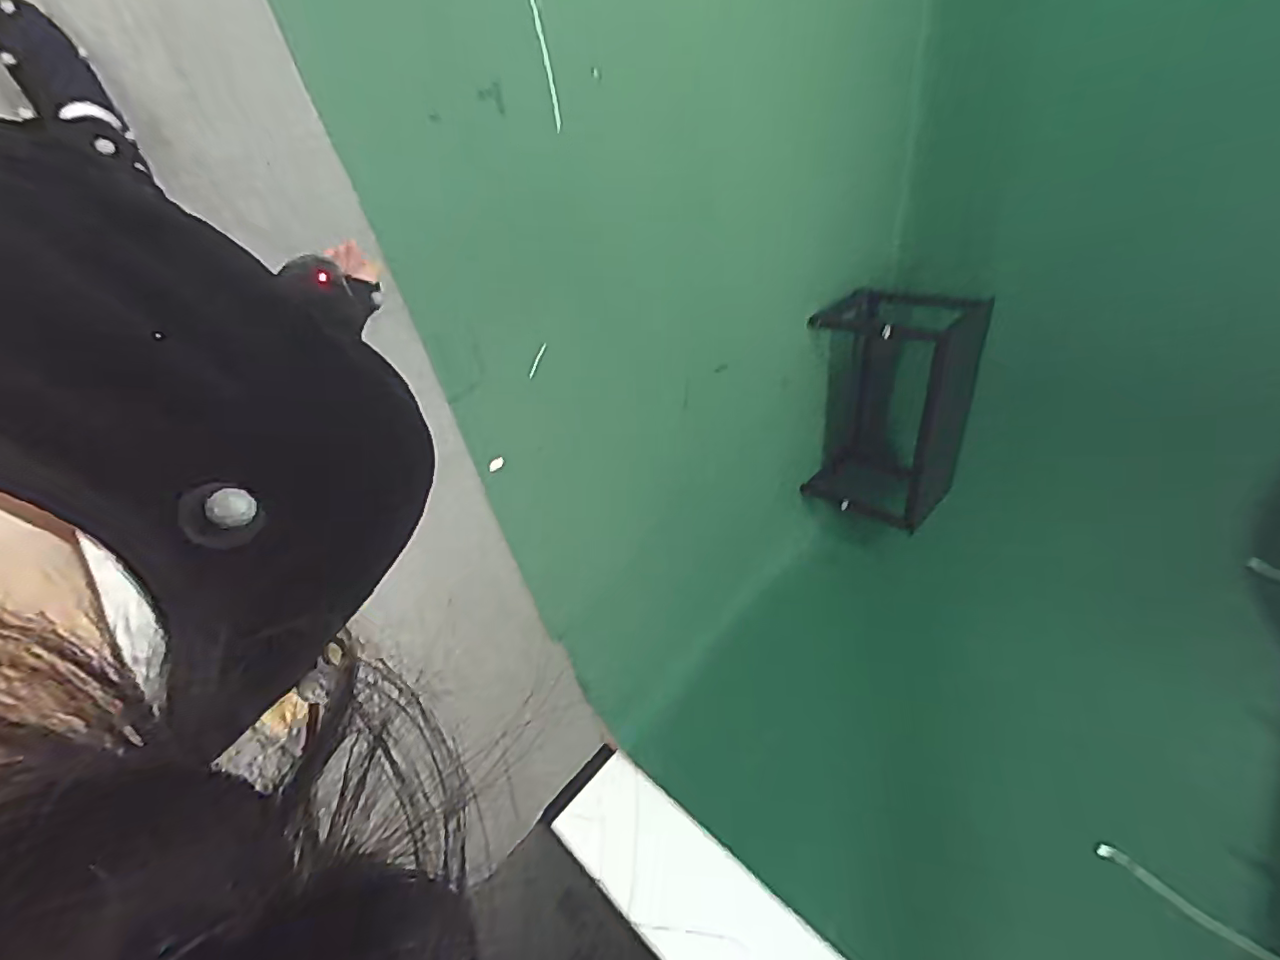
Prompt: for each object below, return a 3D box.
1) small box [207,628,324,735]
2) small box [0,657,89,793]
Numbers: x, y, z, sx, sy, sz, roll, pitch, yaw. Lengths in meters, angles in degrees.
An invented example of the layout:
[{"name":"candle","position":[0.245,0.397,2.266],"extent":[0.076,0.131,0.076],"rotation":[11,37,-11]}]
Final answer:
[{"name":"small box","position":[-0.982,0.520,1.414],"extent":[0.179,0.176,0.168],"rotation":[-47,138,-19]},{"name":"small box","position":[-1.257,0.481,1.076],"extent":[0.168,0.176,0.179],"rotation":[-30,130,-35]}]
